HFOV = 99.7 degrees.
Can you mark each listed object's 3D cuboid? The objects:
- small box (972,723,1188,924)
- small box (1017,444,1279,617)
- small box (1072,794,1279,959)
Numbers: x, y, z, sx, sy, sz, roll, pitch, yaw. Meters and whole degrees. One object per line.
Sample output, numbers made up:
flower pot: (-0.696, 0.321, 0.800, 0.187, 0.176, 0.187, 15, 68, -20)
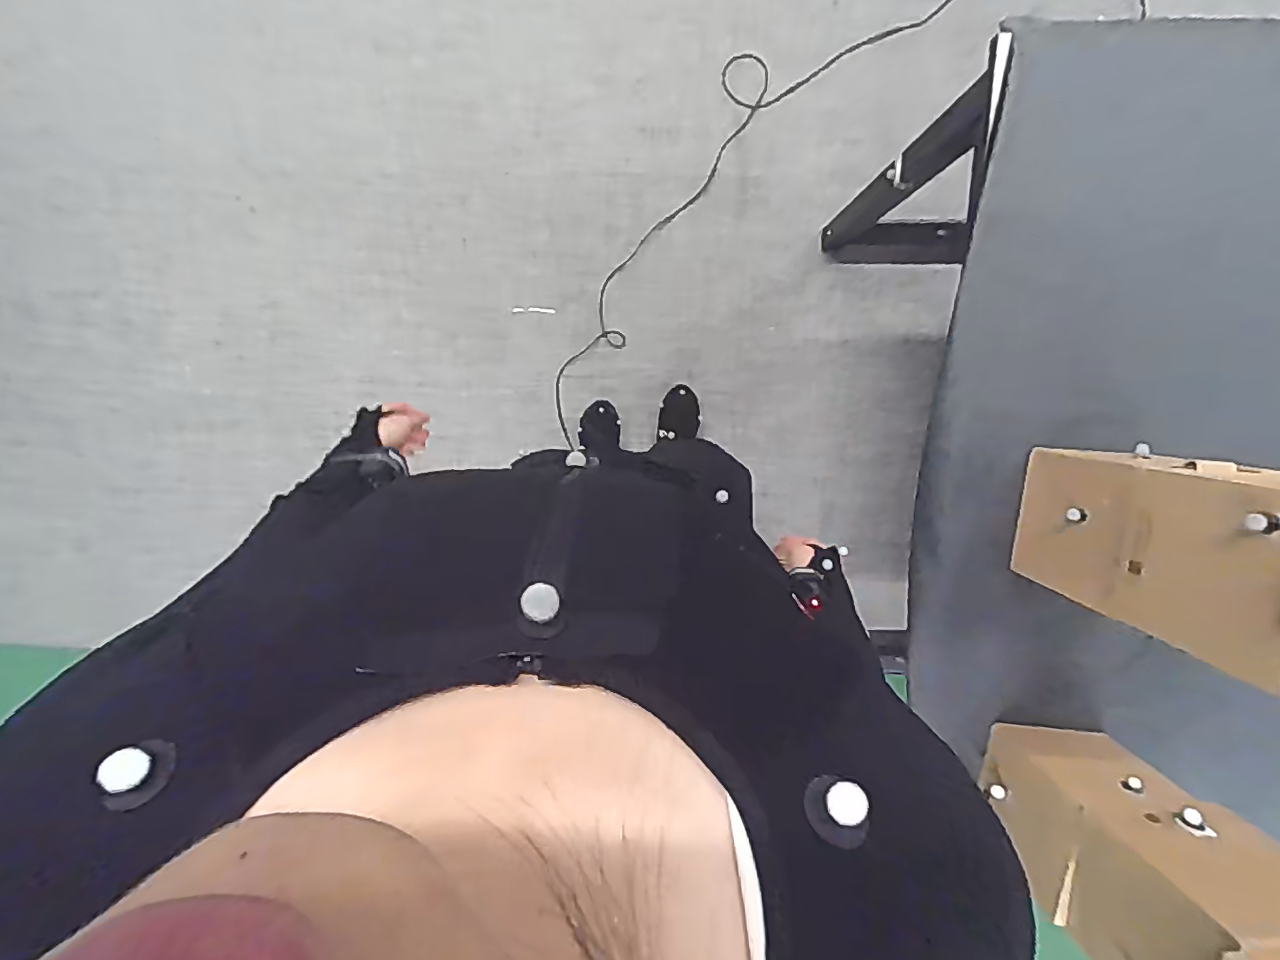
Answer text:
small box: (0.592, 0.449, 0.722, 0.179, 0.176, 0.168, 7, 98, -2)
small box: (0.603, 0.050, 0.661, 0.168, 0.176, 0.179, 3, 98, -1)
small box: (0.596, 0.464, 0.560, 0.168, 0.176, 0.179, -1, 97, -2)
